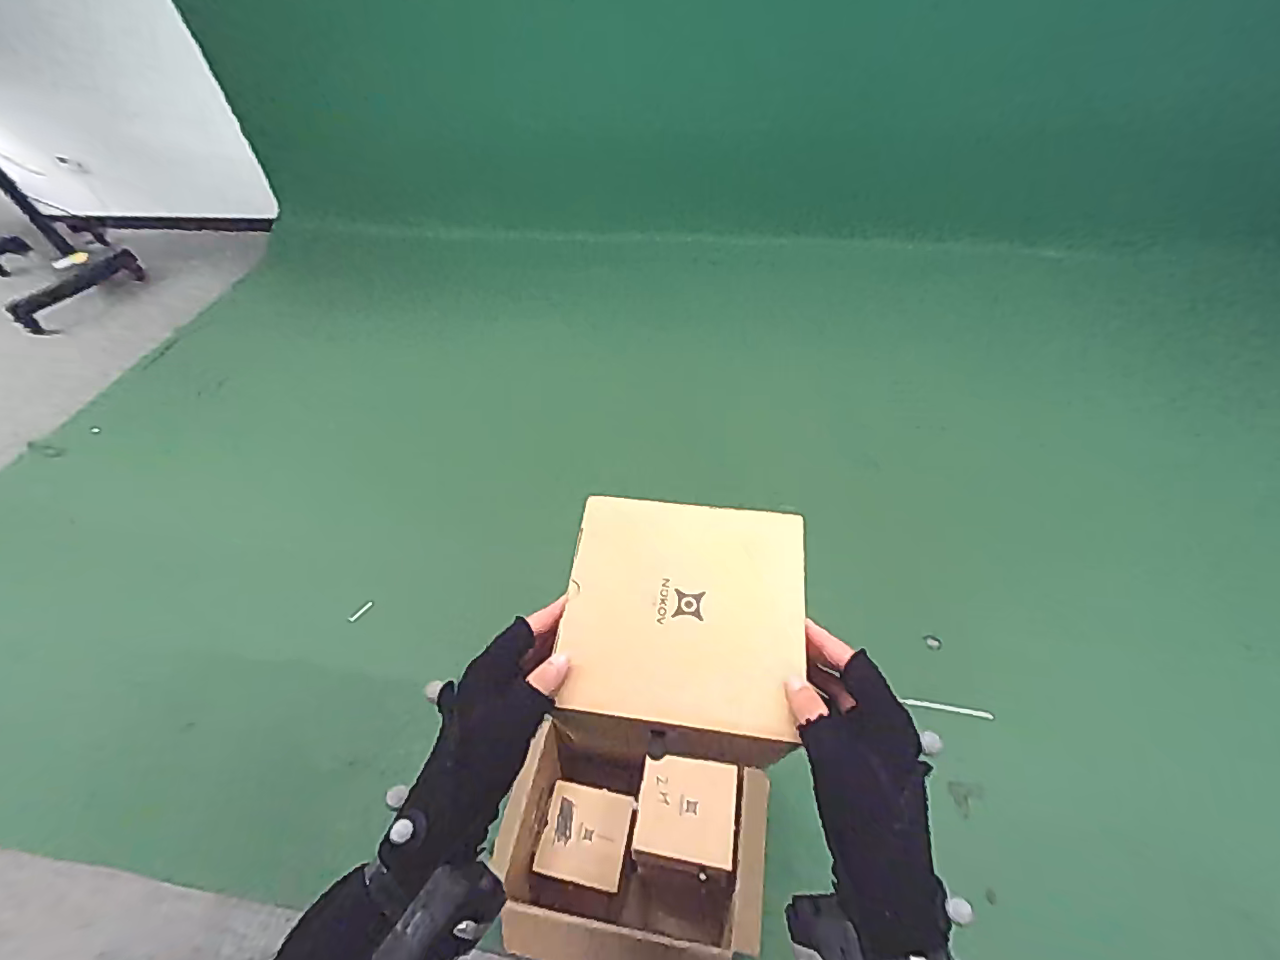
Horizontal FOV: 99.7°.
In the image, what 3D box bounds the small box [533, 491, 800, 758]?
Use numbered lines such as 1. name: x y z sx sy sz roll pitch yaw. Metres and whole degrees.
1. small box: 0.030 0.128 0.456 0.179 0.176 0.168 4 58 8
